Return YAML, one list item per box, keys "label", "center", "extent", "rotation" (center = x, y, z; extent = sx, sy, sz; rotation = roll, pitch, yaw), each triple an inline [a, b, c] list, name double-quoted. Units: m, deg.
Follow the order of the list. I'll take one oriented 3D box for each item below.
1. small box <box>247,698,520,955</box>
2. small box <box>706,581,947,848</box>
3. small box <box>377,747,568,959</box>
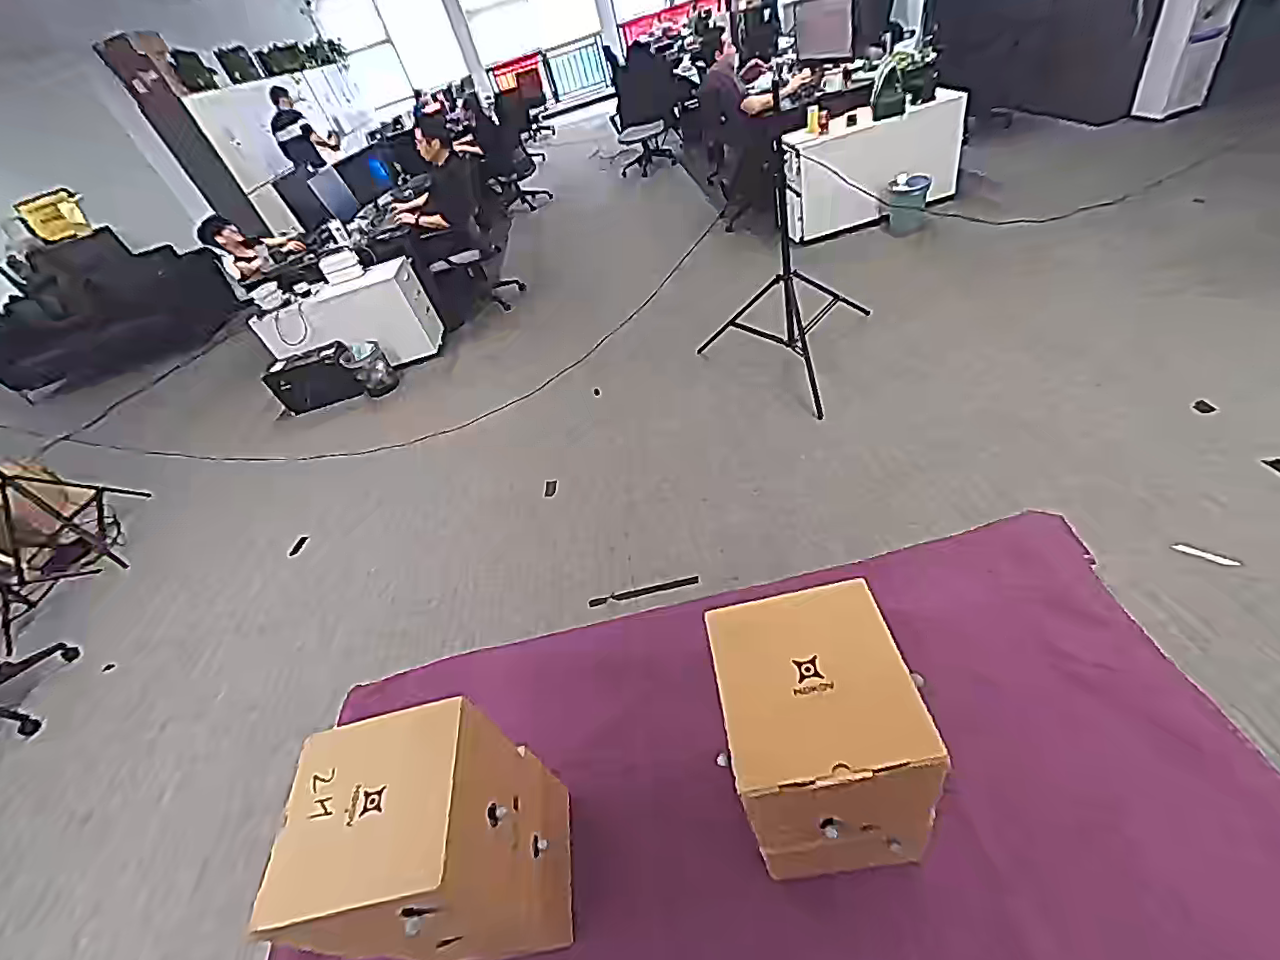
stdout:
- label: "small box"
  center: [-0.233, 0.354, 0.551]
  extent: [0.179, 0.176, 0.168]
  rotation: [-16, 41, 3]
- label: "small box"
  center: [0.169, 0.232, 0.537]
  extent: [0.168, 0.176, 0.179]
  rotation: [-14, 41, 6]
- label: "small box"
  center: [-0.192, 0.465, 0.666]
  extent: [0.168, 0.176, 0.179]
  rotation: [-15, 41, 4]
